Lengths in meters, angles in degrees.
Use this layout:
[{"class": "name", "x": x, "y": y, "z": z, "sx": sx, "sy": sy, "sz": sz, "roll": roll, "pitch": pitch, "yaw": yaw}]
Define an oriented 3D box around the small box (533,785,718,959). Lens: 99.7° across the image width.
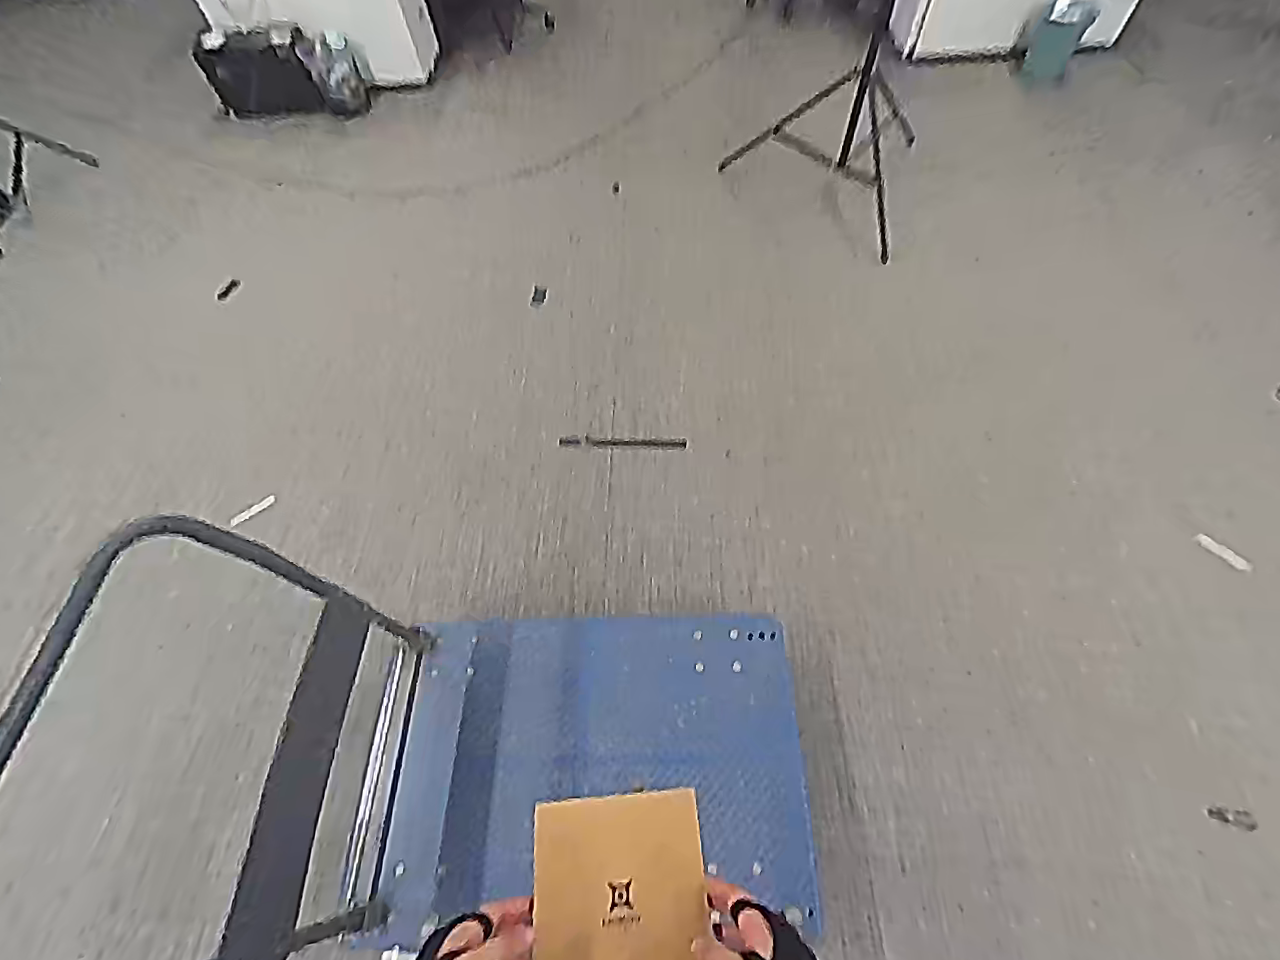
[{"class": "small box", "x": -0.017, "y": 0.429, "z": 0.563, "sx": 0.168, "sy": 0.176, "sz": 0.179, "roll": -5, "pitch": 60, "yaw": -2}]
